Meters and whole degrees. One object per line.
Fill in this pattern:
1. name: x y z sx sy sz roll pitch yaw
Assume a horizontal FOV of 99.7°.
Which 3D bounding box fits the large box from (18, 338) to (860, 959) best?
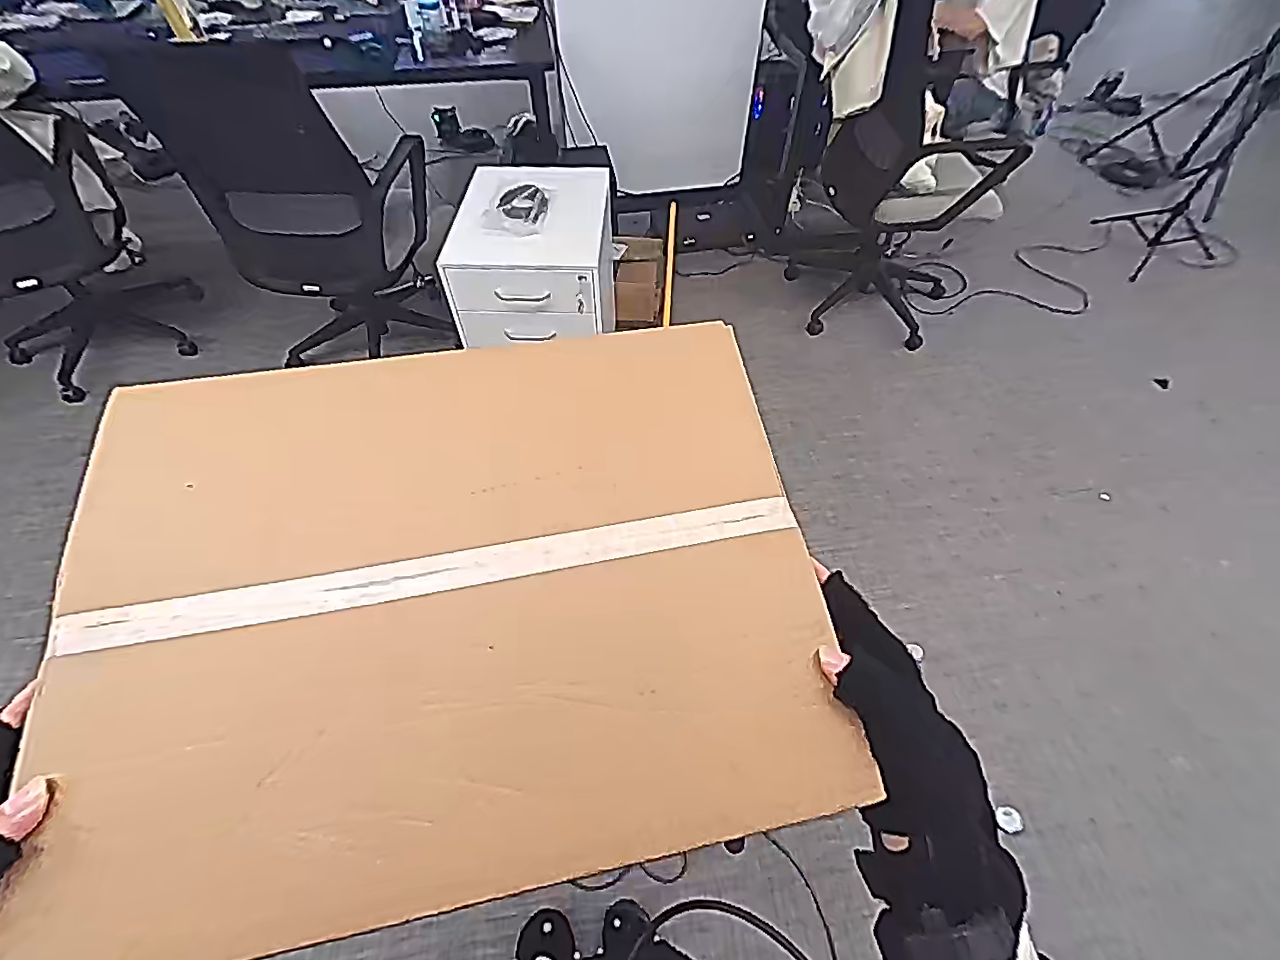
1. large box: -0.112 0.123 0.450 0.408 0.320 0.320 -9 66 -8
